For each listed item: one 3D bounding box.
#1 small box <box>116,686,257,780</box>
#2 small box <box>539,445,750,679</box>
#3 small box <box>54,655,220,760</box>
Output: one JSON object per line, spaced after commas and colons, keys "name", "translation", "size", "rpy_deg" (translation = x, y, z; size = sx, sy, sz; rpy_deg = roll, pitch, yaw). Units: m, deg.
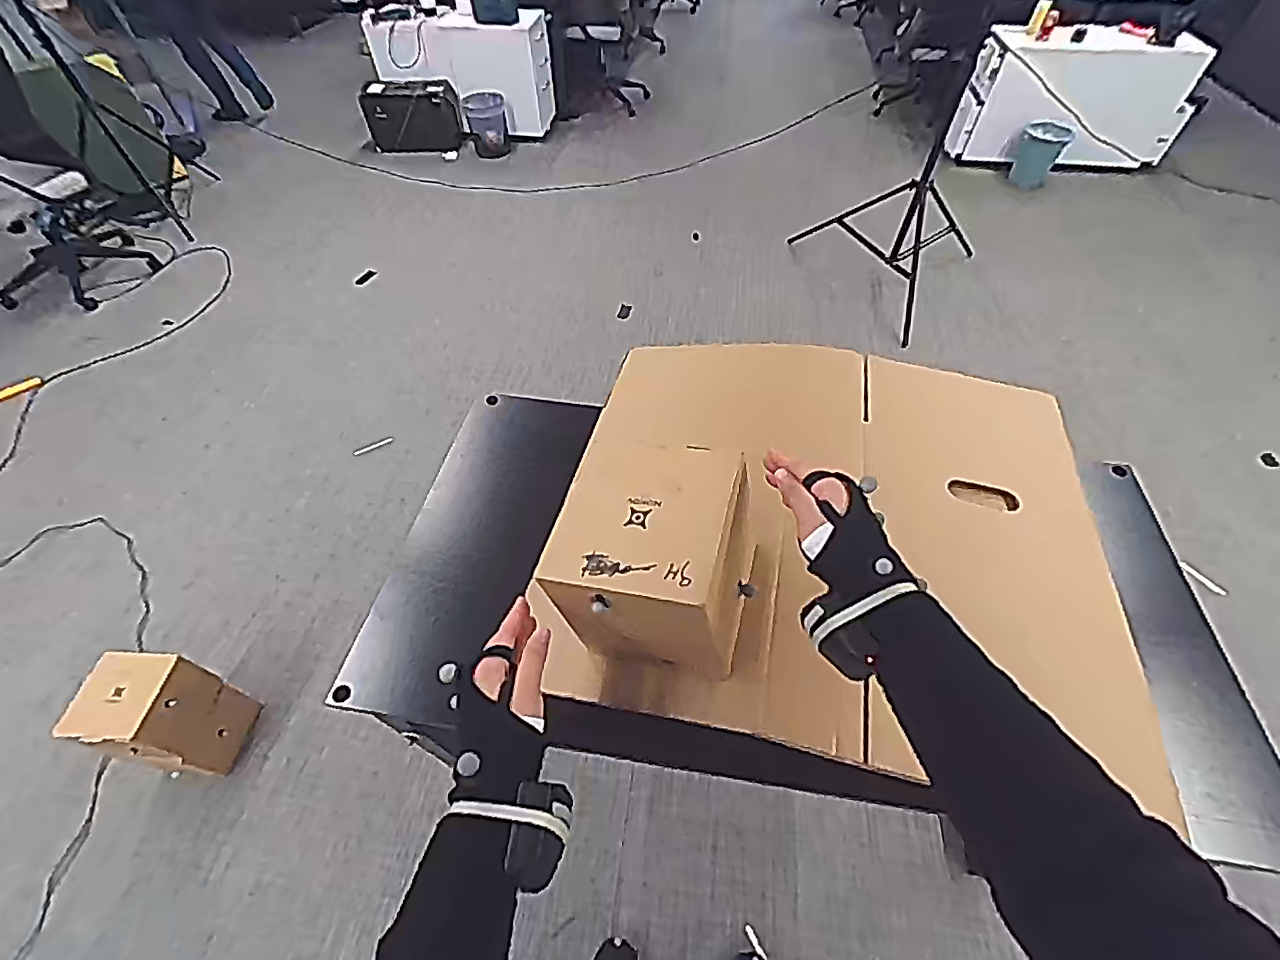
{"name": "small box", "translation": [-1.075, 0.606, 1.306], "size": [0.168, 0.176, 0.179], "rpy_deg": [4, 53, 3]}
{"name": "small box", "translation": [0.022, 0.085, 0.582], "size": [0.168, 0.176, 0.179], "rpy_deg": [5, 51, 21]}
{"name": "small box", "translation": [-1.077, 0.501, 1.181], "size": [0.168, 0.176, 0.179], "rpy_deg": [2, 51, 0]}
